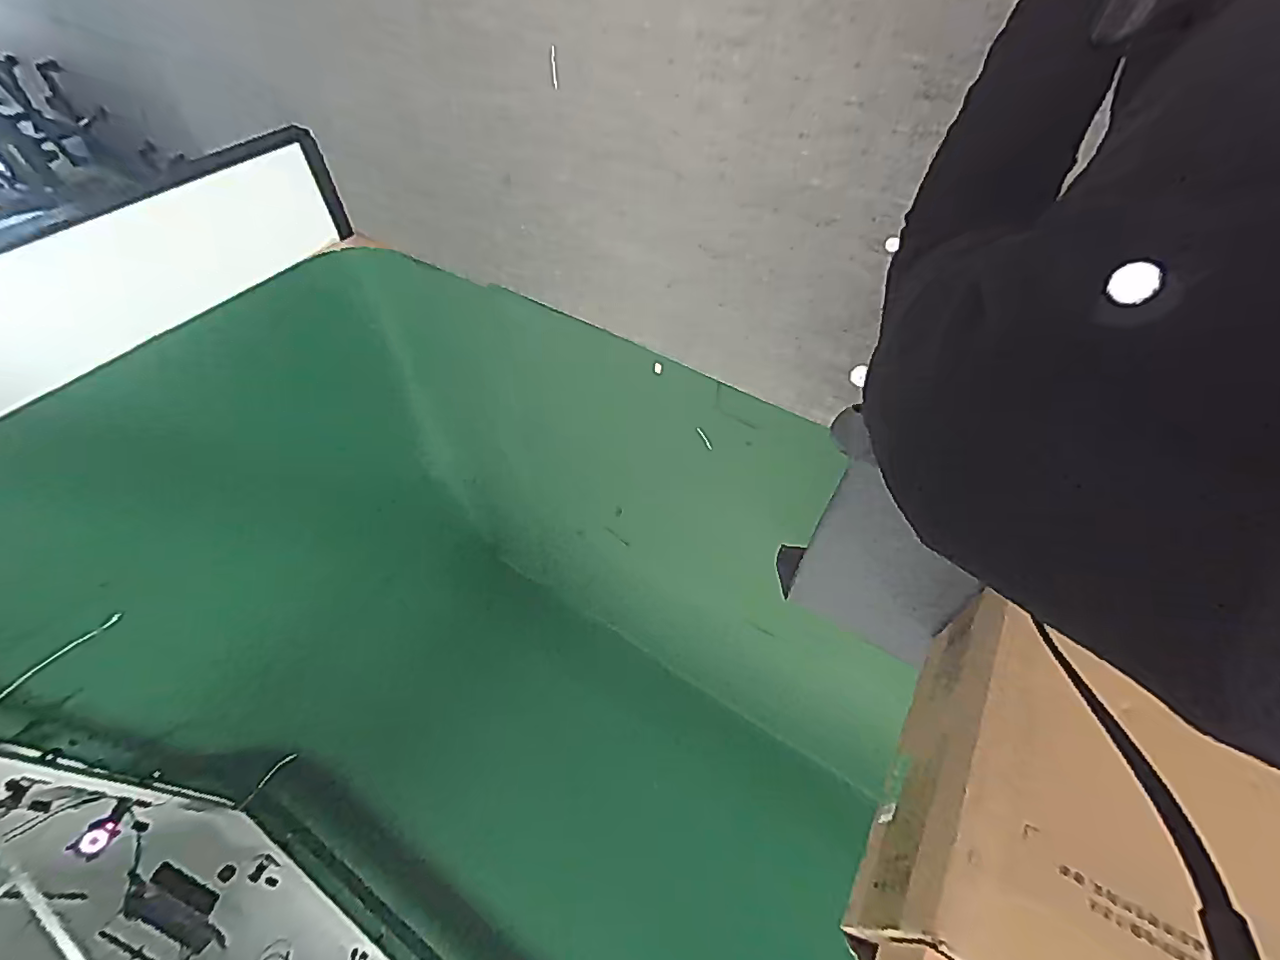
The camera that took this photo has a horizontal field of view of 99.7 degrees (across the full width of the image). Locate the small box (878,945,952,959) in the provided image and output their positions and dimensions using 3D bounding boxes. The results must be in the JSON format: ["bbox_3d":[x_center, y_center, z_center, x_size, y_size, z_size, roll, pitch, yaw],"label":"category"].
[{"bbox_3d":[0.363,0.692,0.635,0.168,0.176,0.179,26,145,21],"label":"small box"}]
